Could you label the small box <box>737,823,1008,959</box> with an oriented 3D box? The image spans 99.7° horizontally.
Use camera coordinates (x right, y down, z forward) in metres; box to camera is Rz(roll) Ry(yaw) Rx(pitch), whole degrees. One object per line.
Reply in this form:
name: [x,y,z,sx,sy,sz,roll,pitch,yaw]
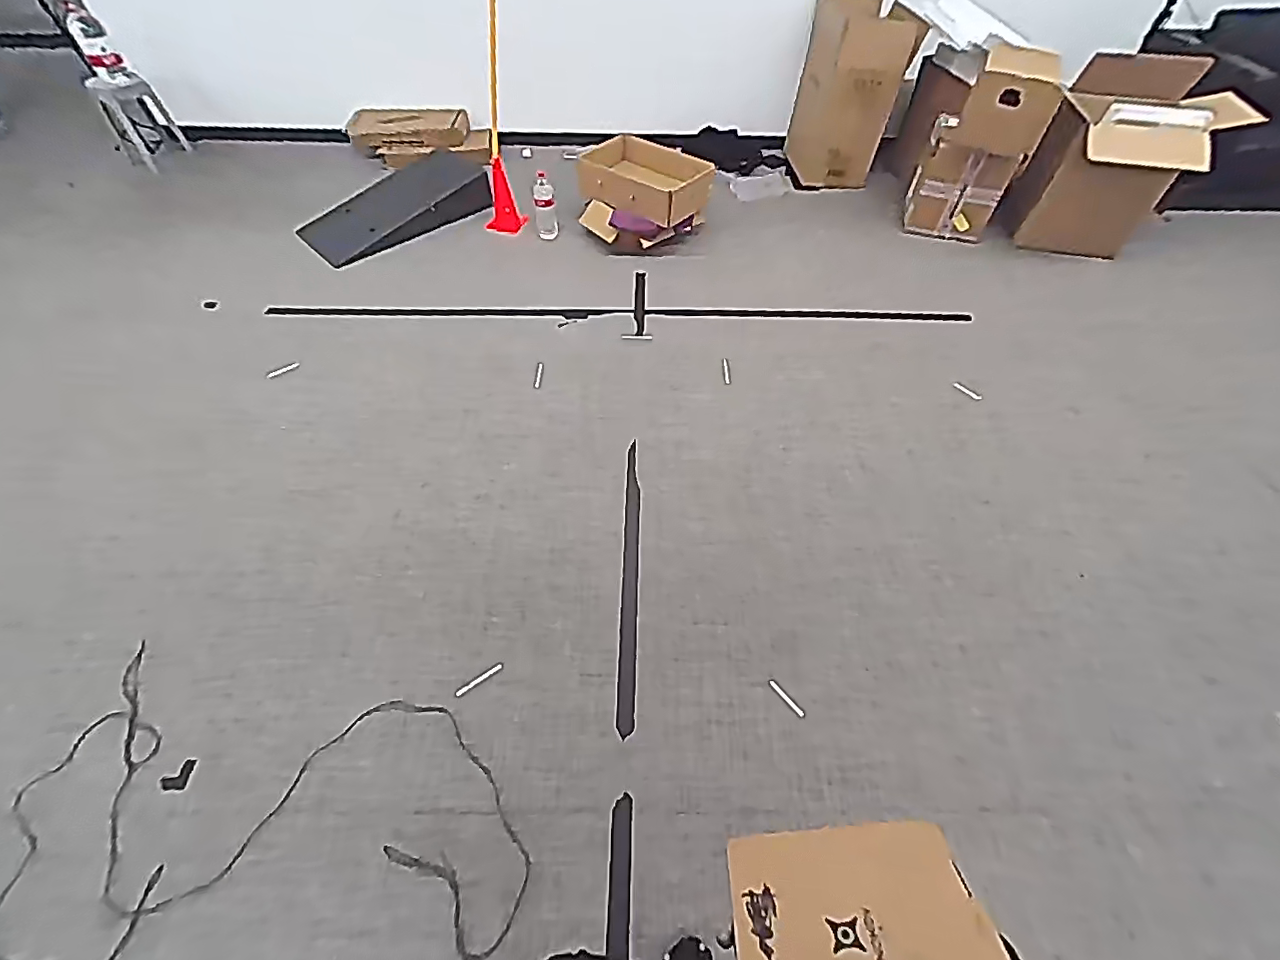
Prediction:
small box: [0.177,0.403,0.413,0.179,0.176,0.168,-9,16,7]
